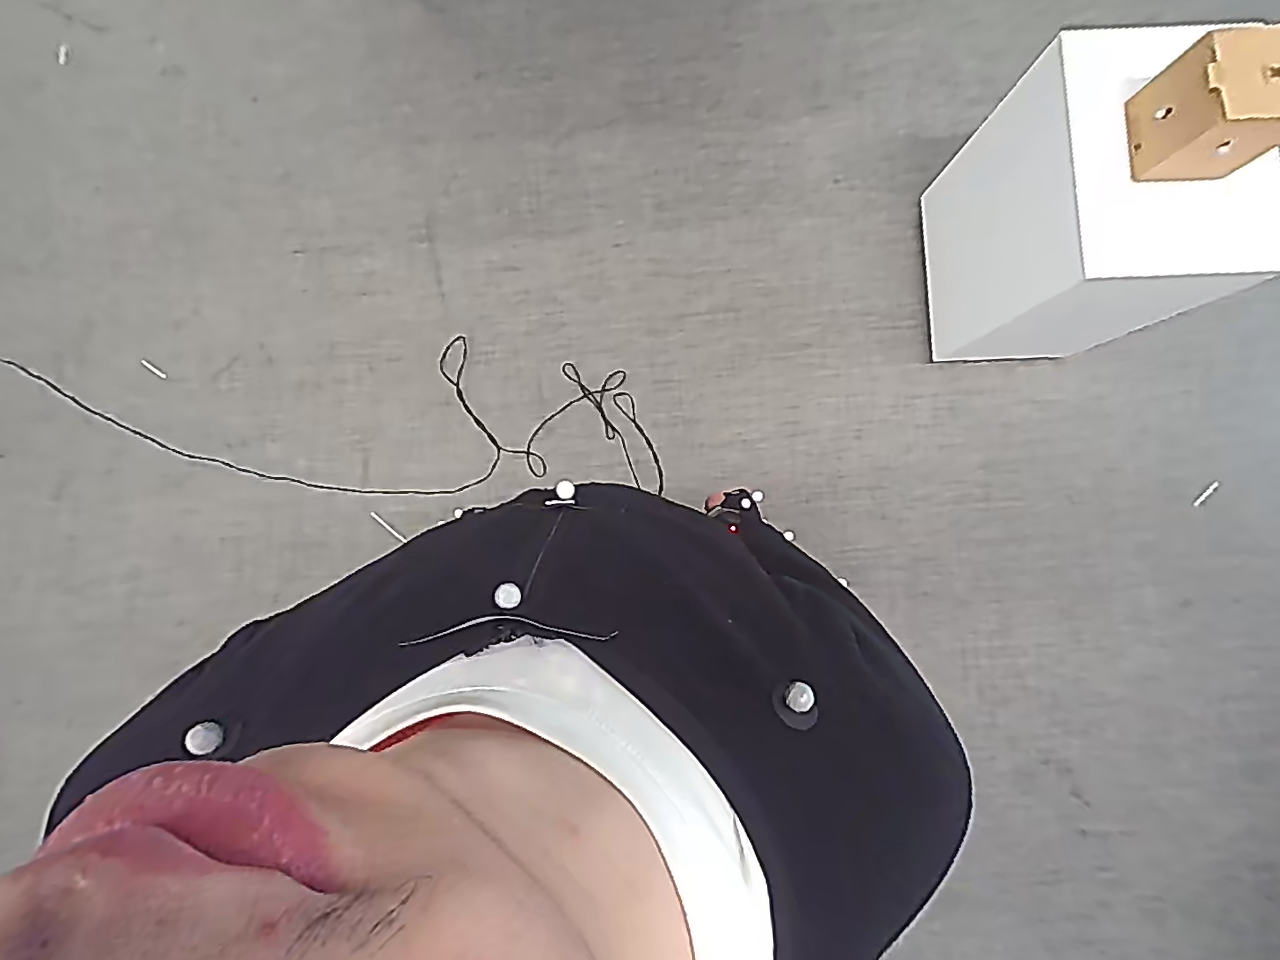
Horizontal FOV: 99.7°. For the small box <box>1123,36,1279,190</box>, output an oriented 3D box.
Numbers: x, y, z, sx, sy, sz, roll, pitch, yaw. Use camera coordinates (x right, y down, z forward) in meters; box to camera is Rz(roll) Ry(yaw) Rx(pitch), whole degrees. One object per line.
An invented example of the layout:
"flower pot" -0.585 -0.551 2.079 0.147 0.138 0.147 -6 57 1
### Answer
"small box" 1.030 -0.654 0.982 0.179 0.176 0.168 -4 85 -1
